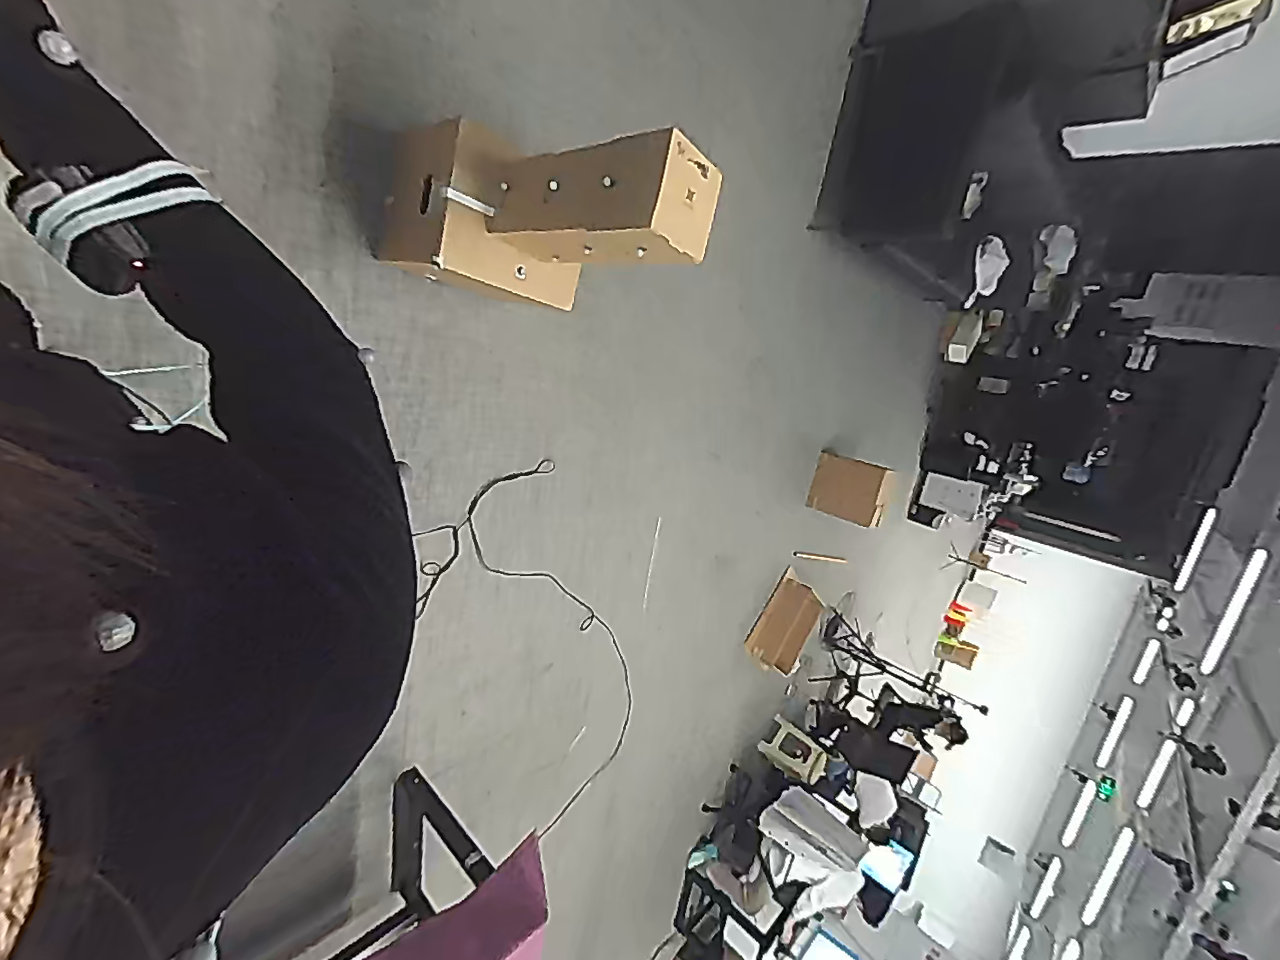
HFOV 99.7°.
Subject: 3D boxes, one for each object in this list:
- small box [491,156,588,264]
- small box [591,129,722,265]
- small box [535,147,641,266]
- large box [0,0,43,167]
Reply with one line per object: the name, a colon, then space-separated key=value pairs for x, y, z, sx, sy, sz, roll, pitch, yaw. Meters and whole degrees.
small box: x=-0.213 y=-0.617 z=1.253 sx=0.179 sy=0.176 sz=0.168 roll=8 pitch=98 yaw=-50
small box: x=0.028 y=-0.534 z=1.046 sx=0.168 sy=0.176 sz=0.179 roll=8 pitch=99 yaw=-51
small box: x=-0.092 y=-0.572 z=1.152 sx=0.179 sy=0.176 sz=0.168 roll=10 pitch=96 yaw=-50
large box: x=-1.015 y=-0.678 z=0.687 sx=0.320 sy=0.320 sz=0.408 roll=-7 pitch=110 yaw=-48
